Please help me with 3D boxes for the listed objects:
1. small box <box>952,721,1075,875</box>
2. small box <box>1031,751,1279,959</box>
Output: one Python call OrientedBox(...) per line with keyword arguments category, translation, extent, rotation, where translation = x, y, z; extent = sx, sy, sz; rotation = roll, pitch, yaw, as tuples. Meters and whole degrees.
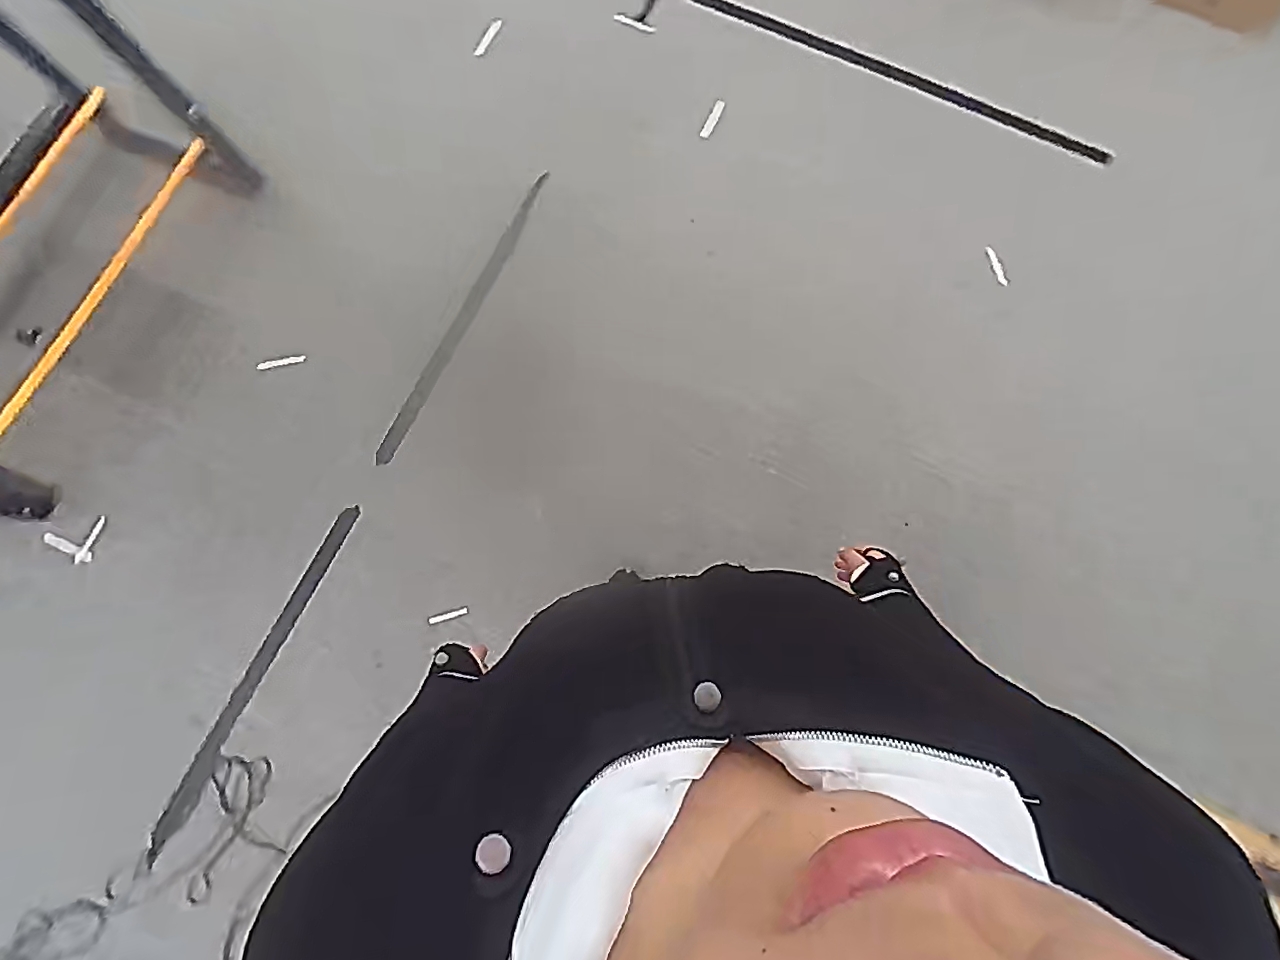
OrientedBox(category="small box", translation=(0.588, 0.466, 0.759), extent=(0.179, 0.176, 0.168), rotation=(26, 80, 7))
OrientedBox(category="small box", translation=(0.583, 0.436, 0.597), extent=(0.168, 0.176, 0.179), rotation=(25, 81, 6))
